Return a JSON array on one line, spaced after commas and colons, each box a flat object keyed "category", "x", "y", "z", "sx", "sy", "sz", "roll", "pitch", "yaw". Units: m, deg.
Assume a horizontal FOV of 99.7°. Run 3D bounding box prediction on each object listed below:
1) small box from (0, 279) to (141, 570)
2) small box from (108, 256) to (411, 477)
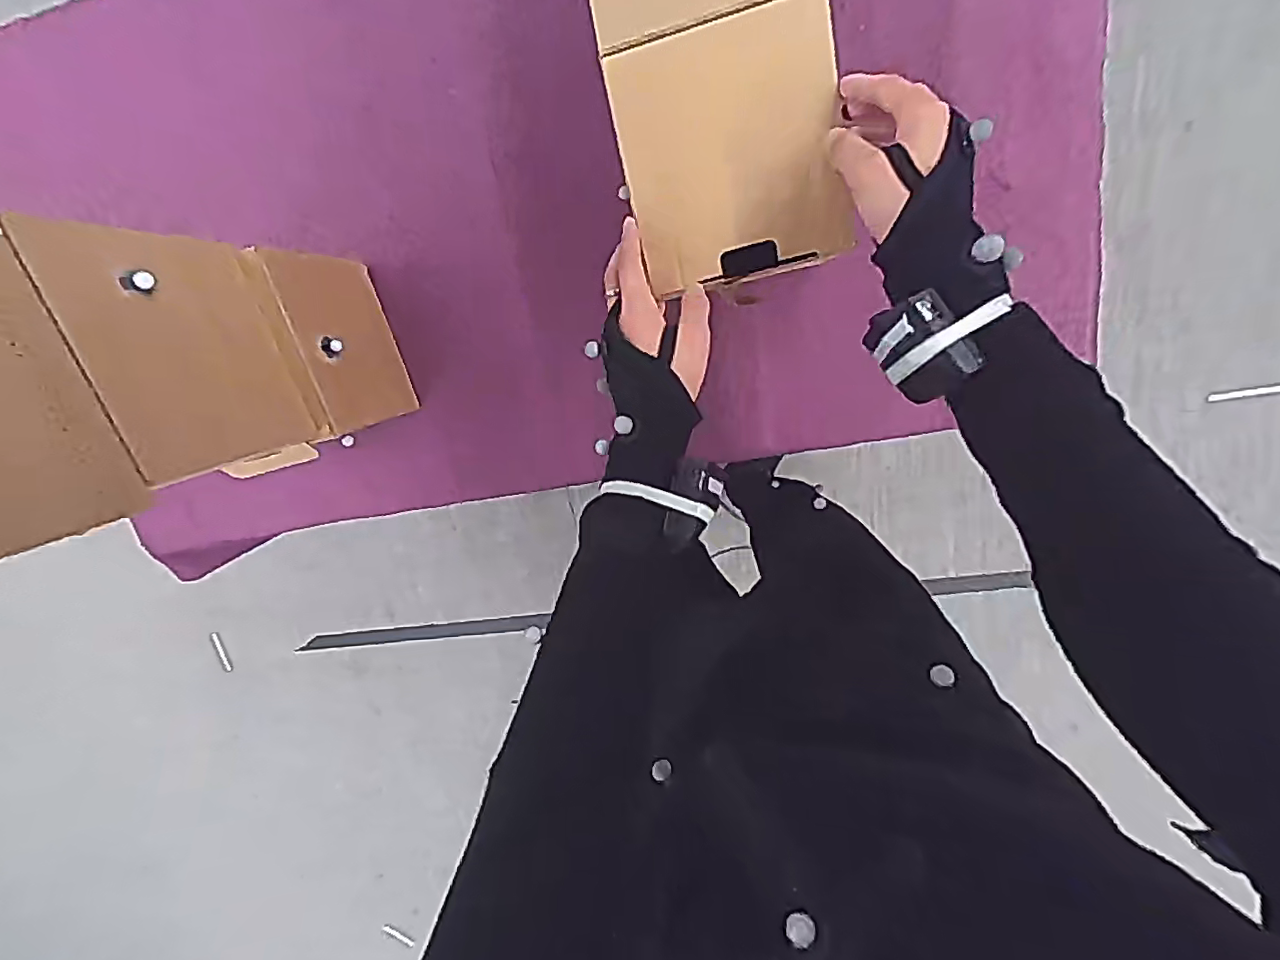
[{"category": "small box", "x": -0.427, "y": -0.015, "z": 0.269, "sx": 0.168, "sy": 0.176, "sz": 0.179, "roll": -15, "pitch": 104, "yaw": 11}, {"category": "small box", "x": -0.380, "y": -0.123, "z": 0.579, "sx": 0.168, "sy": 0.176, "sz": 0.179, "roll": -13, "pitch": 105, "yaw": 10}]
